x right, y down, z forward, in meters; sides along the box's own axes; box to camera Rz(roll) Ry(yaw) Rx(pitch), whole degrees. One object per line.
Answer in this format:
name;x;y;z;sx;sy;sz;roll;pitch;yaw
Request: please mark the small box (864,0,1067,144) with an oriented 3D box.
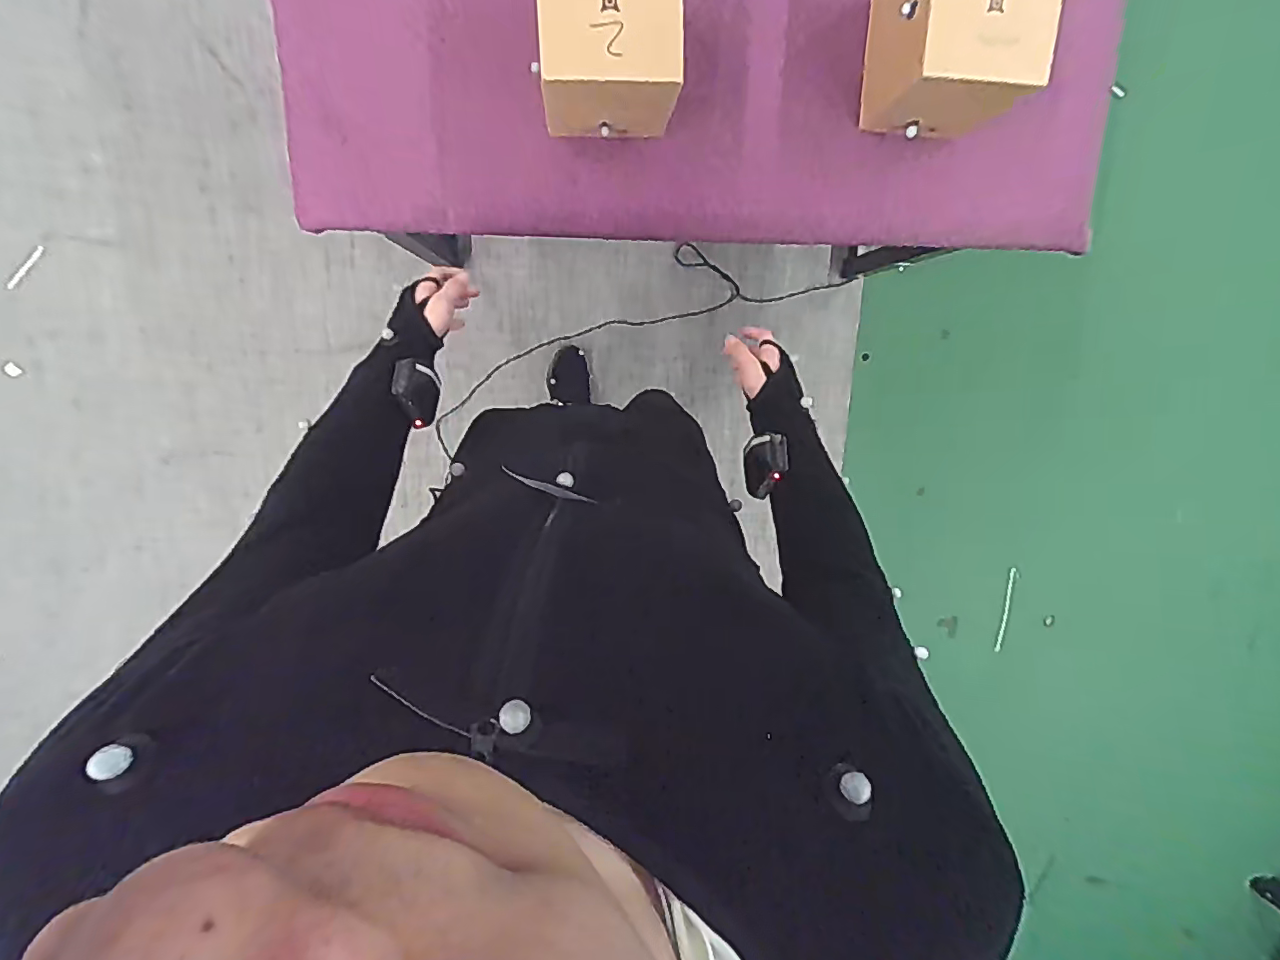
small box;0.418;-0.581;0.715;0.168;0.176;0.179;2;102;-5
